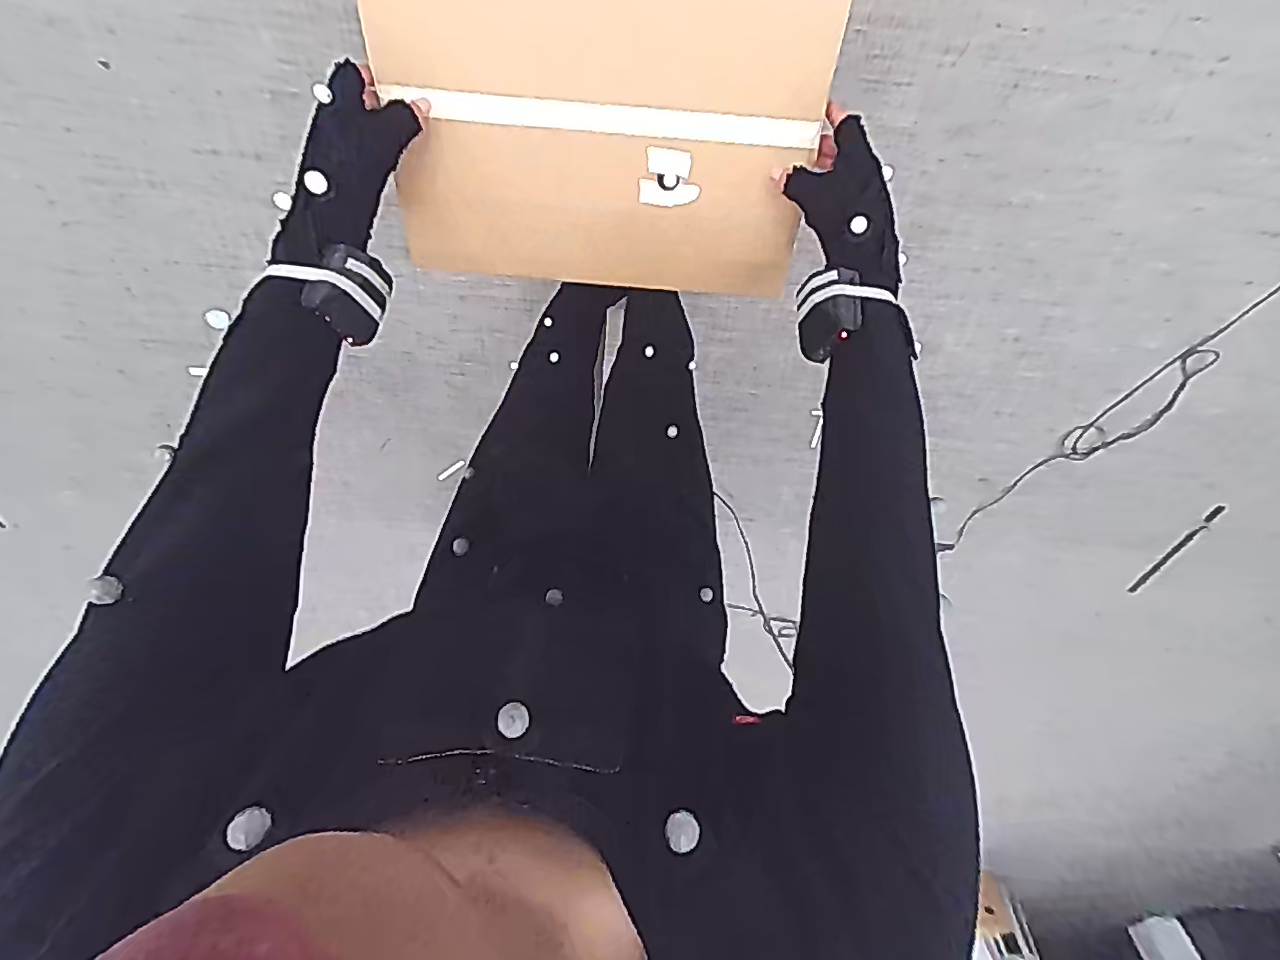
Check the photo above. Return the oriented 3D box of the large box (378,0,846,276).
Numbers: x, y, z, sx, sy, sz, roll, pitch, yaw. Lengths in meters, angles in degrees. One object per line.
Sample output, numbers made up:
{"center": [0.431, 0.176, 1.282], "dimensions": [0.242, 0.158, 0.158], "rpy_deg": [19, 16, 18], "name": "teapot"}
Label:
{"center": [-0.029, -0.449, 0.614], "dimensions": [0.408, 0.320, 0.320], "rpy_deg": [3, 132, -2], "name": "large box"}
